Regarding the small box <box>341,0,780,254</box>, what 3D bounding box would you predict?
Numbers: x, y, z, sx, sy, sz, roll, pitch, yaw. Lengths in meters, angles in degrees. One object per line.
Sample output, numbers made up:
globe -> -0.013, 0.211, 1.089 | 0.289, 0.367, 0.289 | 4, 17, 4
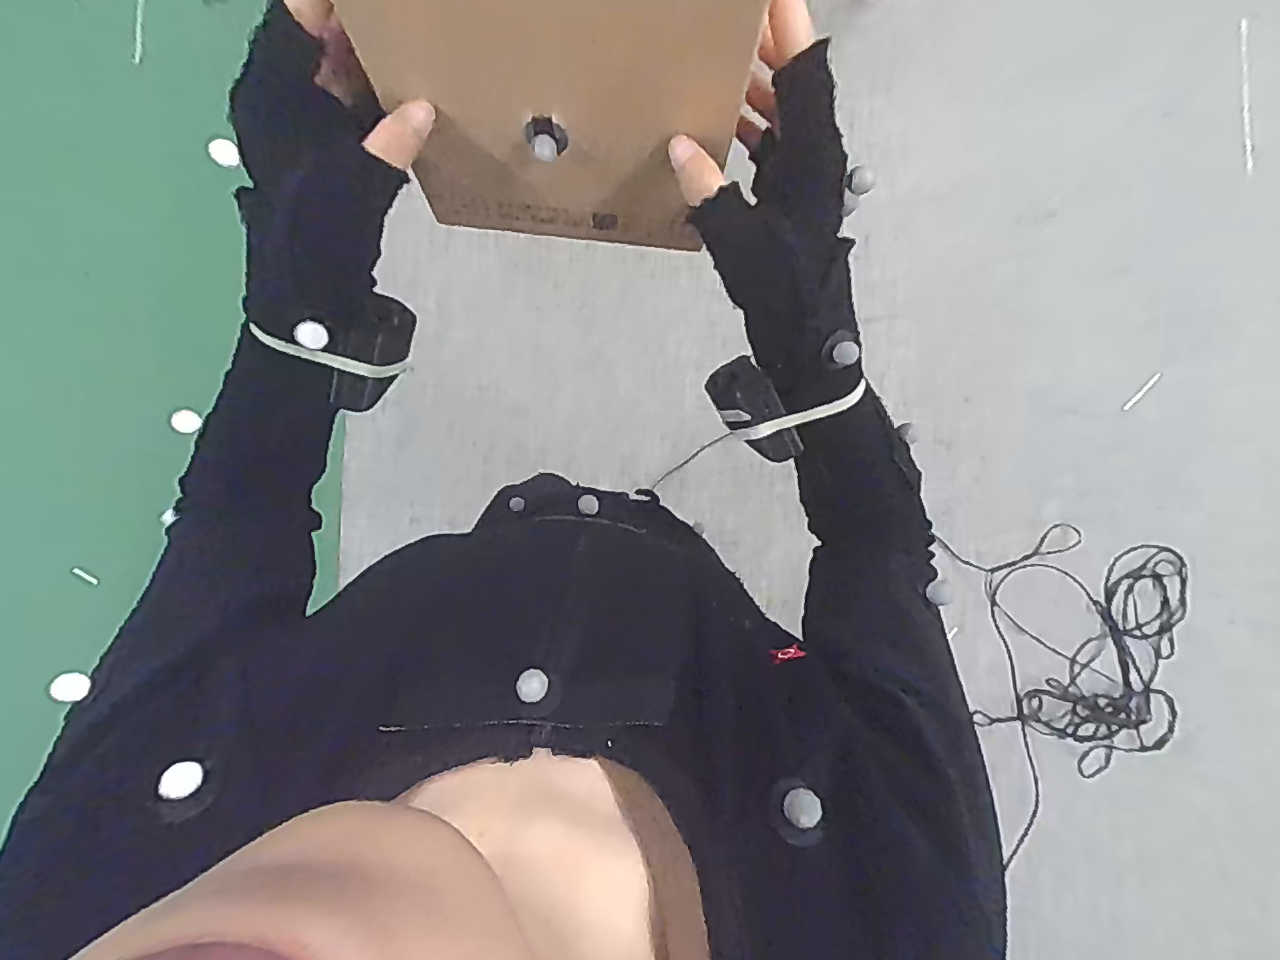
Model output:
small box -> -0.025, -0.242, 0.272 | 0.168, 0.176, 0.179 | 5, 78, -3
